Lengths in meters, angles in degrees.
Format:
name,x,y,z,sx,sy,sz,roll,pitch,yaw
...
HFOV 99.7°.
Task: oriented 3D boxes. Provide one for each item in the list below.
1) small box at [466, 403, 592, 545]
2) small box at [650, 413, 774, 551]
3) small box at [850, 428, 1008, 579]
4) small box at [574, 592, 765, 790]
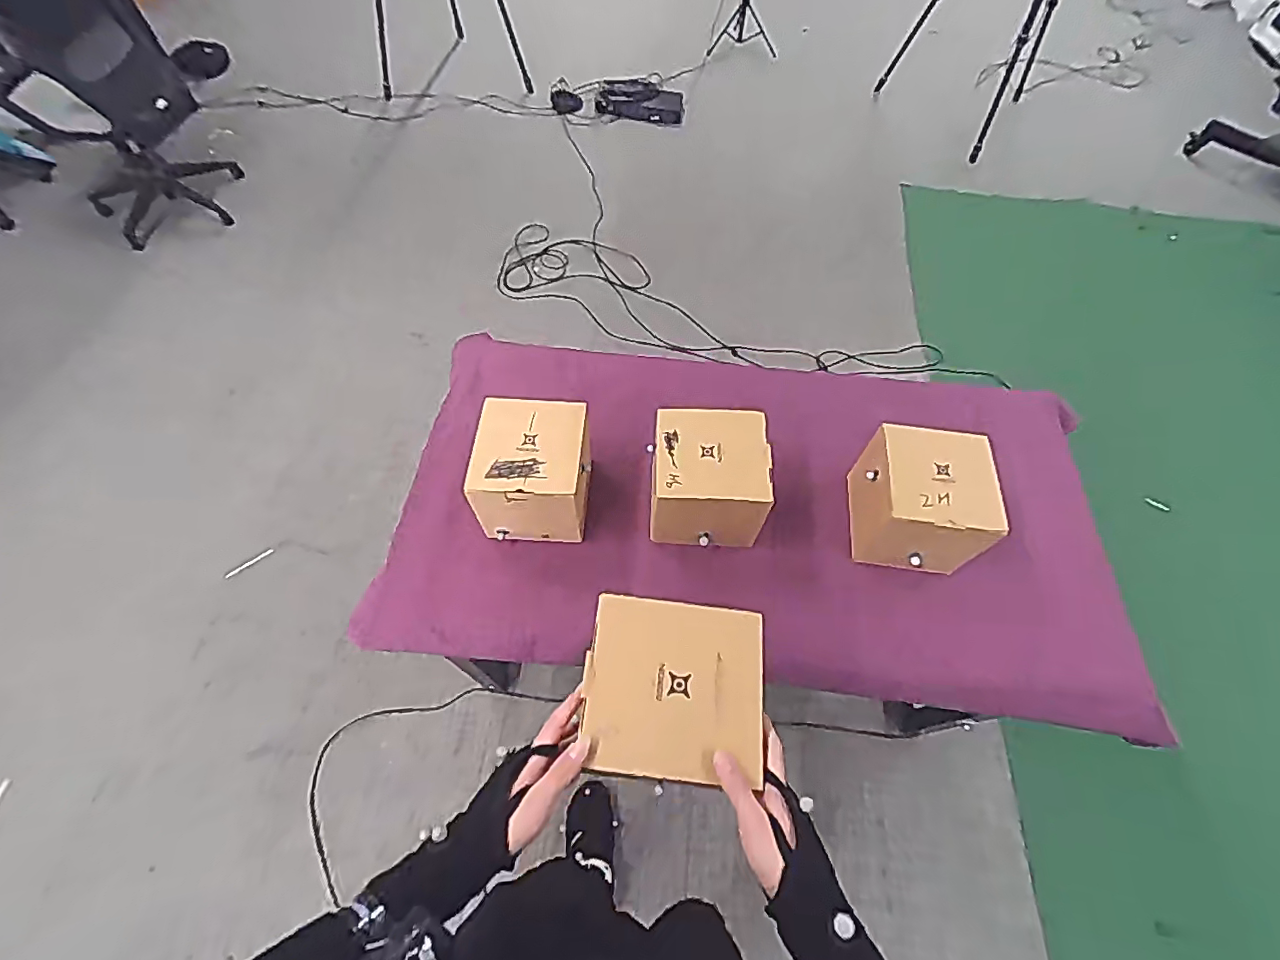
name,x,y,z,sx,sy,sz,roll,pitch,yaw
small box,-0.171,-0.005,0.896,0.168,0.176,0.179,3,58,0
small box,0.111,0.009,0.897,0.179,0.176,0.168,3,59,0
small box,0.455,0.042,0.886,0.168,0.176,0.179,8,59,4
small box,0.031,0.238,0.597,0.179,0.176,0.168,8,60,0
